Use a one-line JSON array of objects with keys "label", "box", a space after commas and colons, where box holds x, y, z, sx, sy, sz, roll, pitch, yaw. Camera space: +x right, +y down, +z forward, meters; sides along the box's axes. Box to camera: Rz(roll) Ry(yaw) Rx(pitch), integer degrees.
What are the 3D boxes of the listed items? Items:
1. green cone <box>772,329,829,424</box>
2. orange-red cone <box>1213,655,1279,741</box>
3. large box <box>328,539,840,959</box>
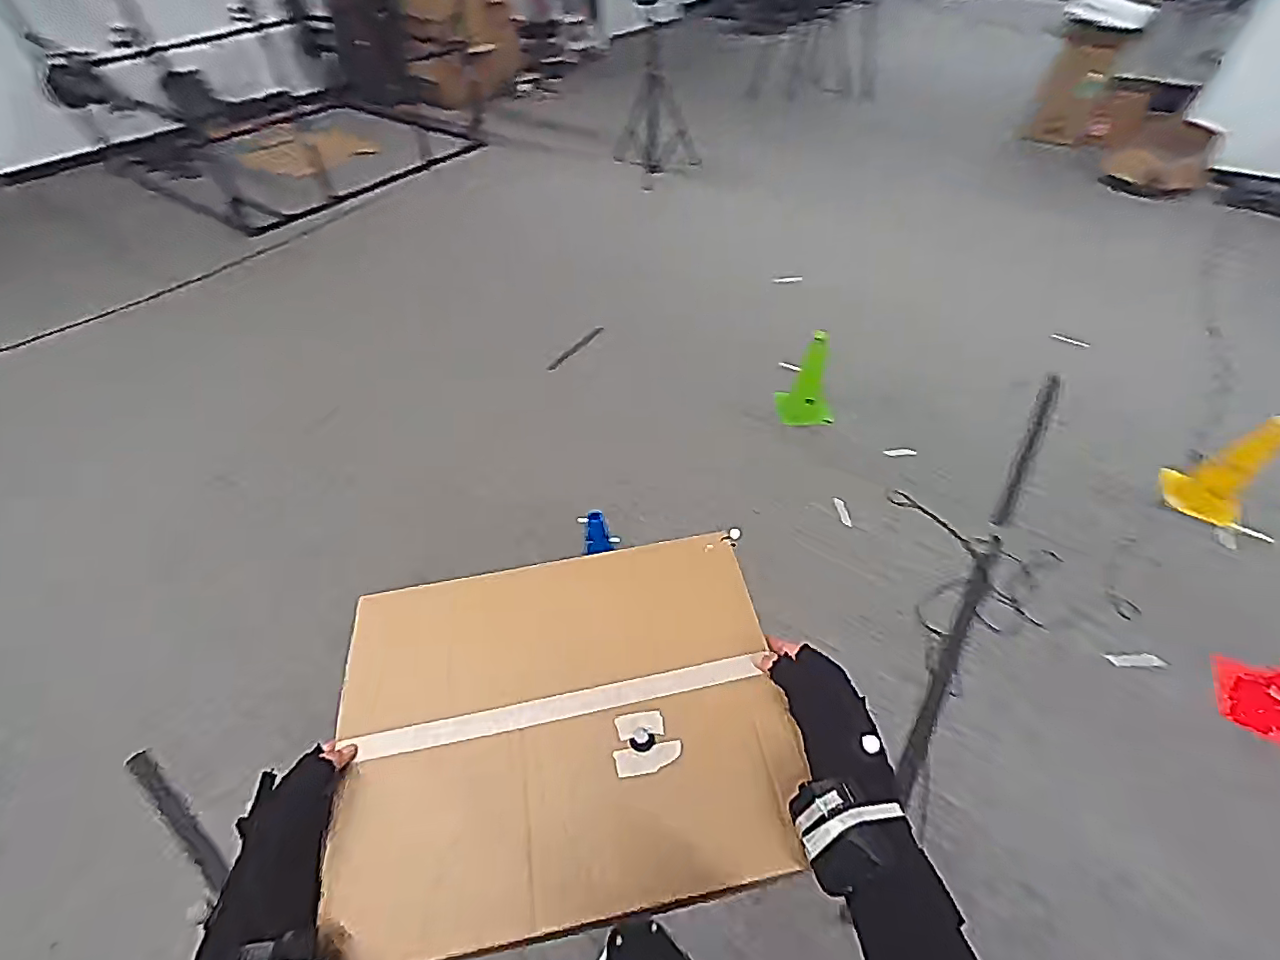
[{"label": "green cone", "box": [0.649, -0.418, 2.088, 0.202, 0.368, 0.200, -3, 48, 1]}, {"label": "orange-red cone", "box": [1.621, 0.463, 1.285, 0.198, 0.360, 0.199, 26, 53, 21]}, {"label": "large box", "box": [-0.057, 0.307, 0.617, 0.408, 0.320, 0.320, -8, 51, -5]}]
